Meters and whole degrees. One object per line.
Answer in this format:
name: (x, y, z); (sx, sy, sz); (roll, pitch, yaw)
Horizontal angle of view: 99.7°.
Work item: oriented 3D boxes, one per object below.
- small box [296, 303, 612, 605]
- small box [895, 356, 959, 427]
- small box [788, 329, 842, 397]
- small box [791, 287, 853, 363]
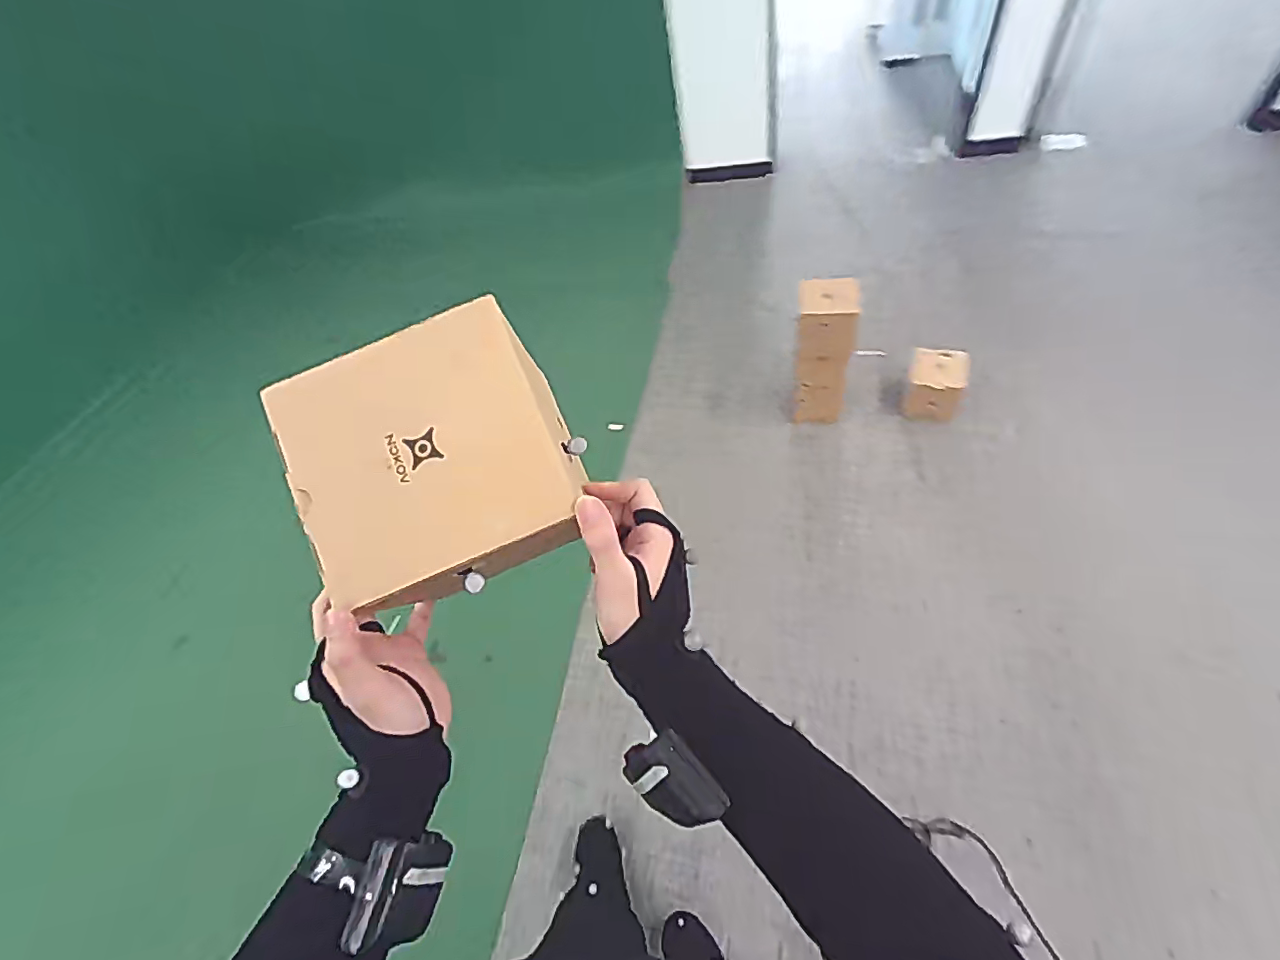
small box: (-0.130, -0.011, 0.449); (0.179, 0.176, 0.168); (-22, 81, 0)
small box: (1.001, -0.307, 1.892); (0.168, 0.176, 0.179); (10, 58, 19)
small box: (0.595, -0.398, 1.845); (0.168, 0.176, 0.179); (2, 54, 13)
small box: (0.570, -0.484, 1.707); (0.179, 0.176, 0.168); (3, 55, 14)
